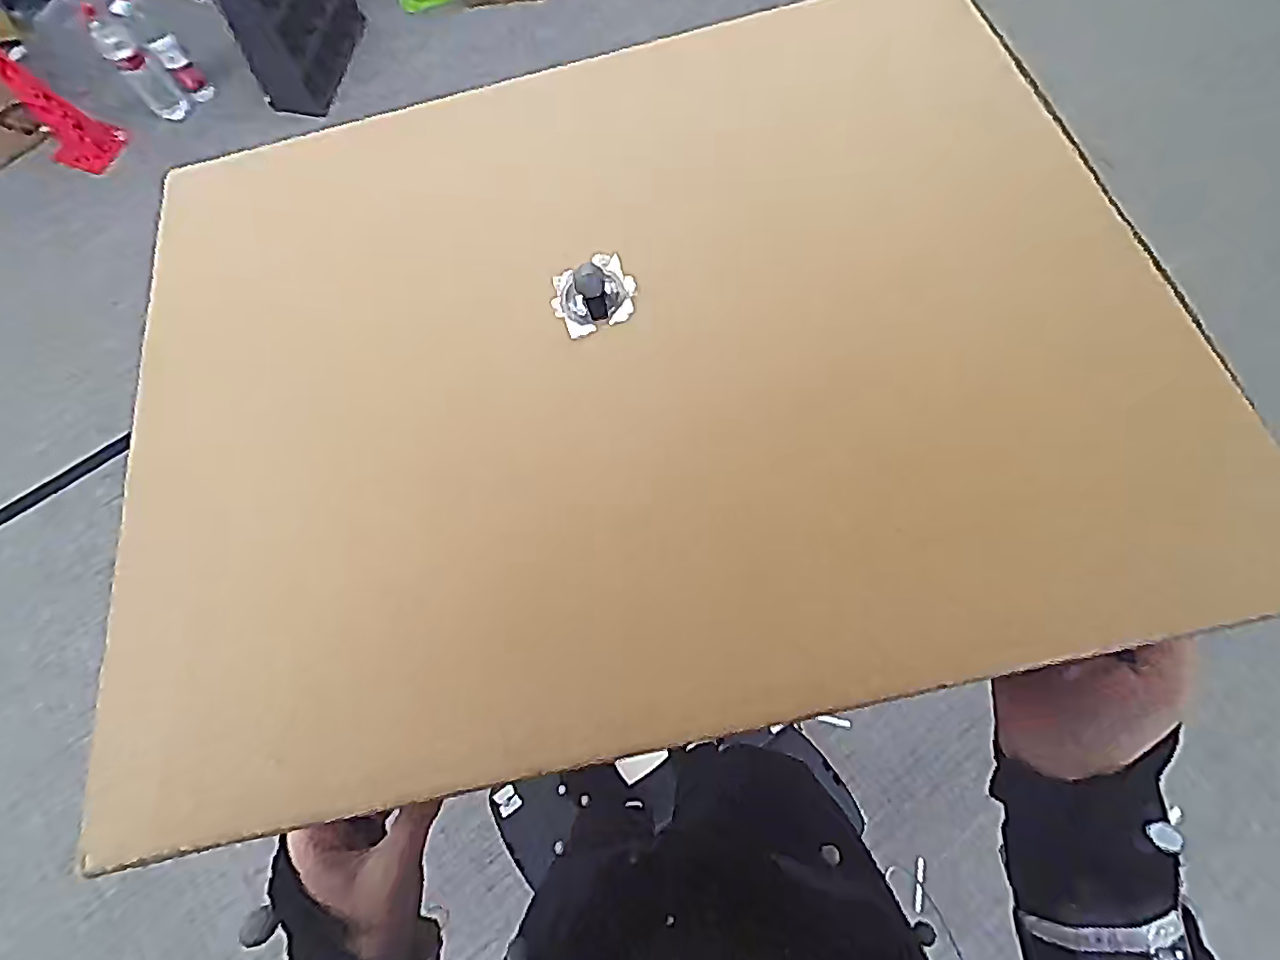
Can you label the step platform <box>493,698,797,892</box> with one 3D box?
[{"bbox_3d":[0.015,0.603,1.249,0.684,0.204,0.286,-30,76,-9],"label":"step platform"}]
